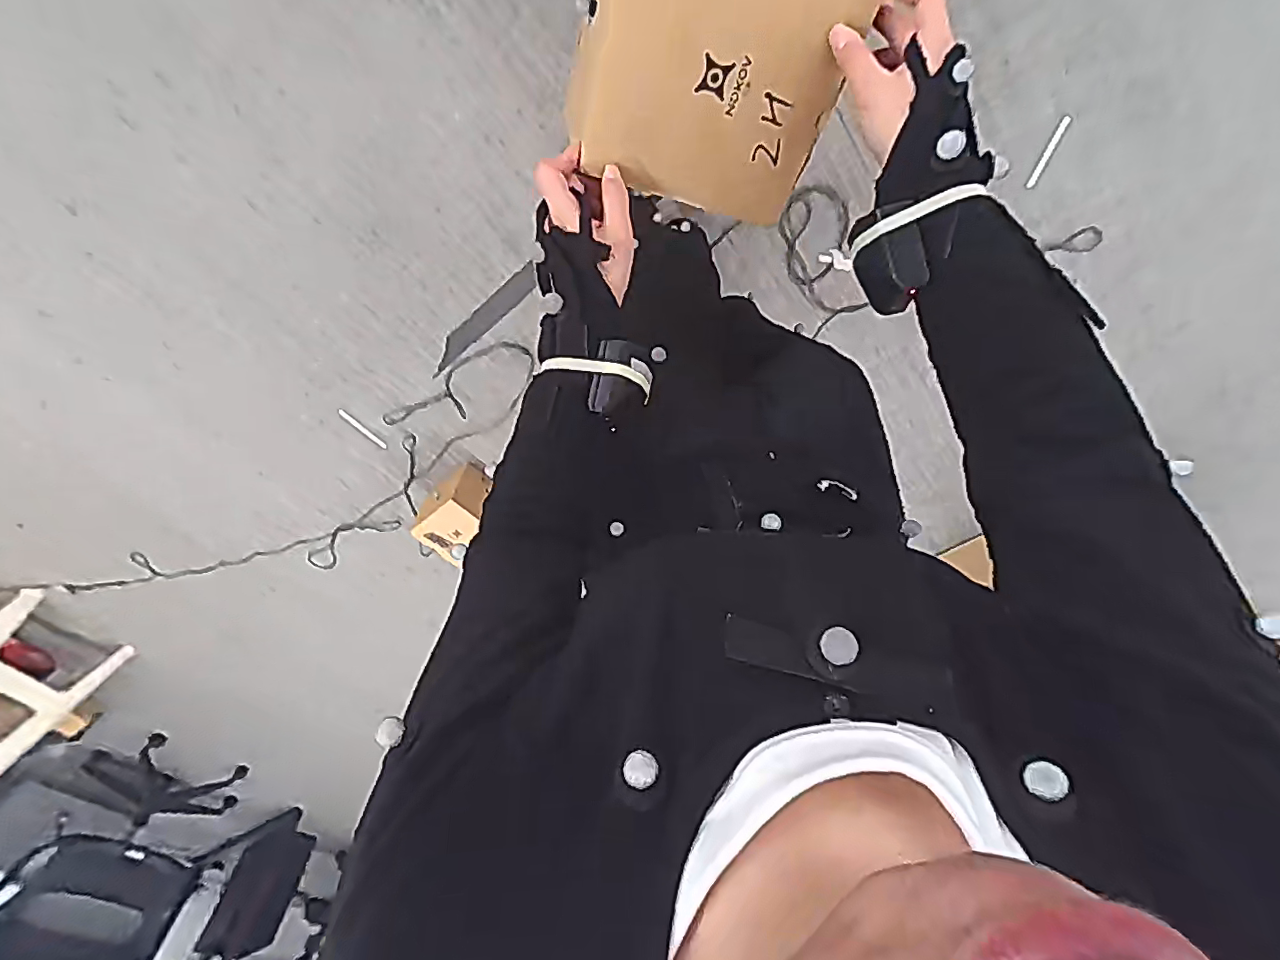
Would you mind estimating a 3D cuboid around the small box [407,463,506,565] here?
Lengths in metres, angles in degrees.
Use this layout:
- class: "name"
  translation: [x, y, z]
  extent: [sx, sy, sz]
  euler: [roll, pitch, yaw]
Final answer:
- class: "small box"
  translation: [-0.485, 0.091, 1.457]
  extent: [0.179, 0.176, 0.168]
  euler: [-34, 120, 22]

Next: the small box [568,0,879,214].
- class: "small box"
  translation: [0.046, -0.346, 0.427]
  extent: [0.179, 0.176, 0.168]
  euler: [7, 136, -20]
